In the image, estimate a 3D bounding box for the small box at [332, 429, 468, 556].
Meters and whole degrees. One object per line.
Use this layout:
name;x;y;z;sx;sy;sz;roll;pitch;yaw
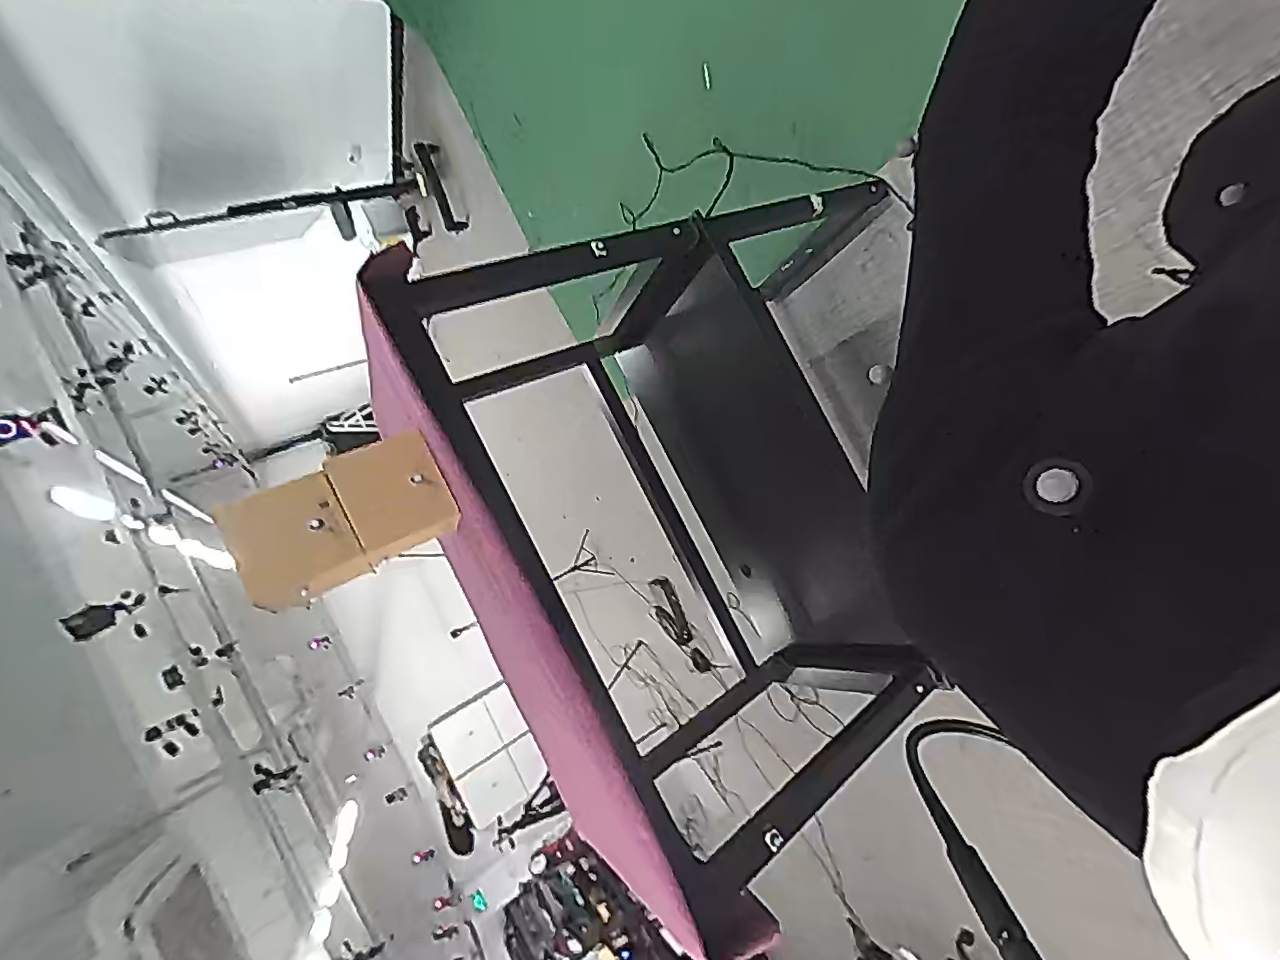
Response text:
small box;-0.439;0.020;1.002;0.179;0.176;0.168;63;155;3
